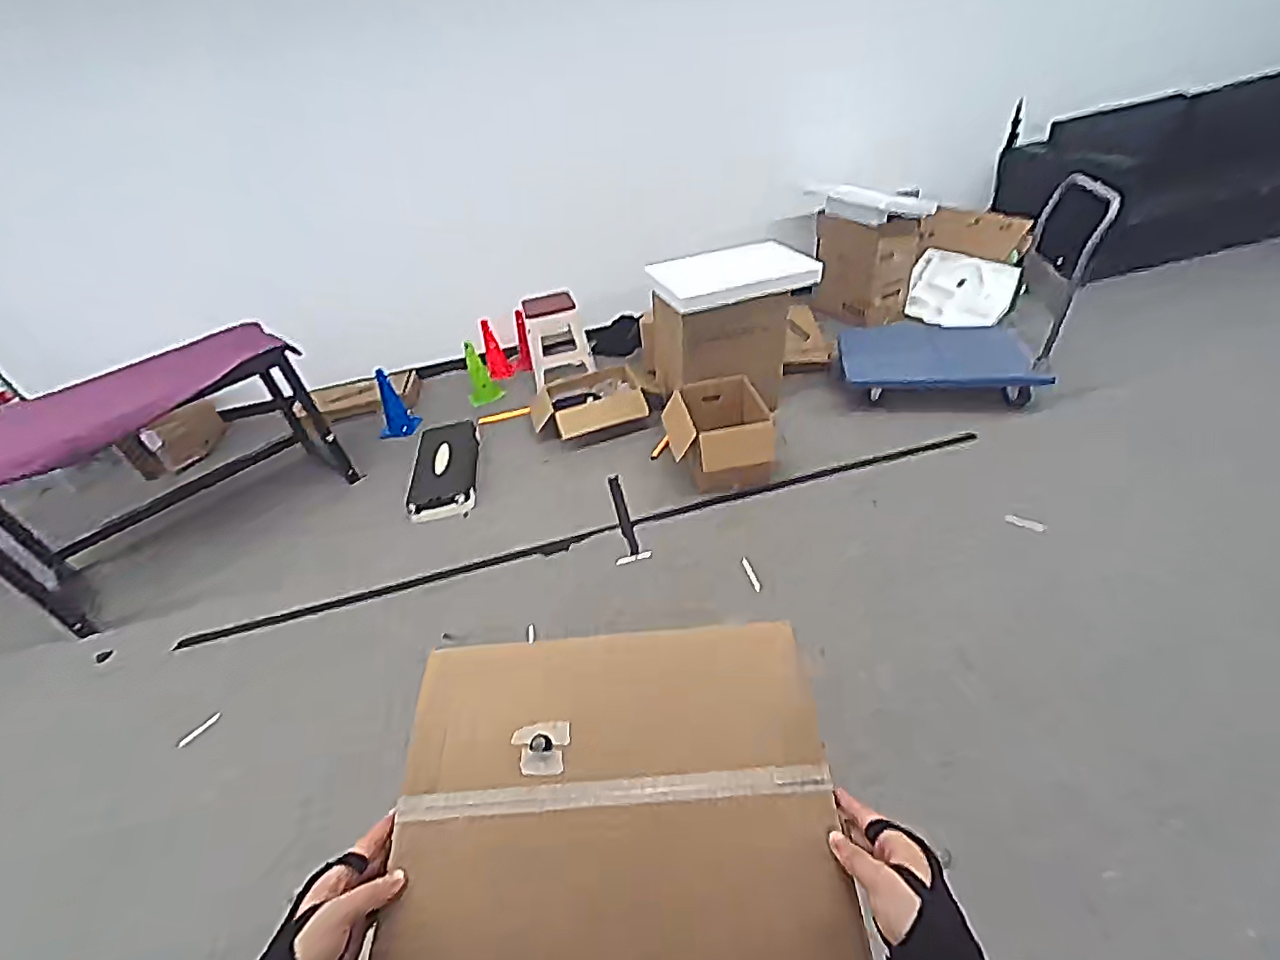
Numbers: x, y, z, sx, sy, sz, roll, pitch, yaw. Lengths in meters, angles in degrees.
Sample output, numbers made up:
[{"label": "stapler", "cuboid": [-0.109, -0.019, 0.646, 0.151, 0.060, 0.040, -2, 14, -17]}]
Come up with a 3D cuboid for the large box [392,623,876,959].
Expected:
[{"label": "large box", "cuboid": [-0.003, 0.395, 0.630, 0.408, 0.320, 0.320, -6, 48, 3]}]
